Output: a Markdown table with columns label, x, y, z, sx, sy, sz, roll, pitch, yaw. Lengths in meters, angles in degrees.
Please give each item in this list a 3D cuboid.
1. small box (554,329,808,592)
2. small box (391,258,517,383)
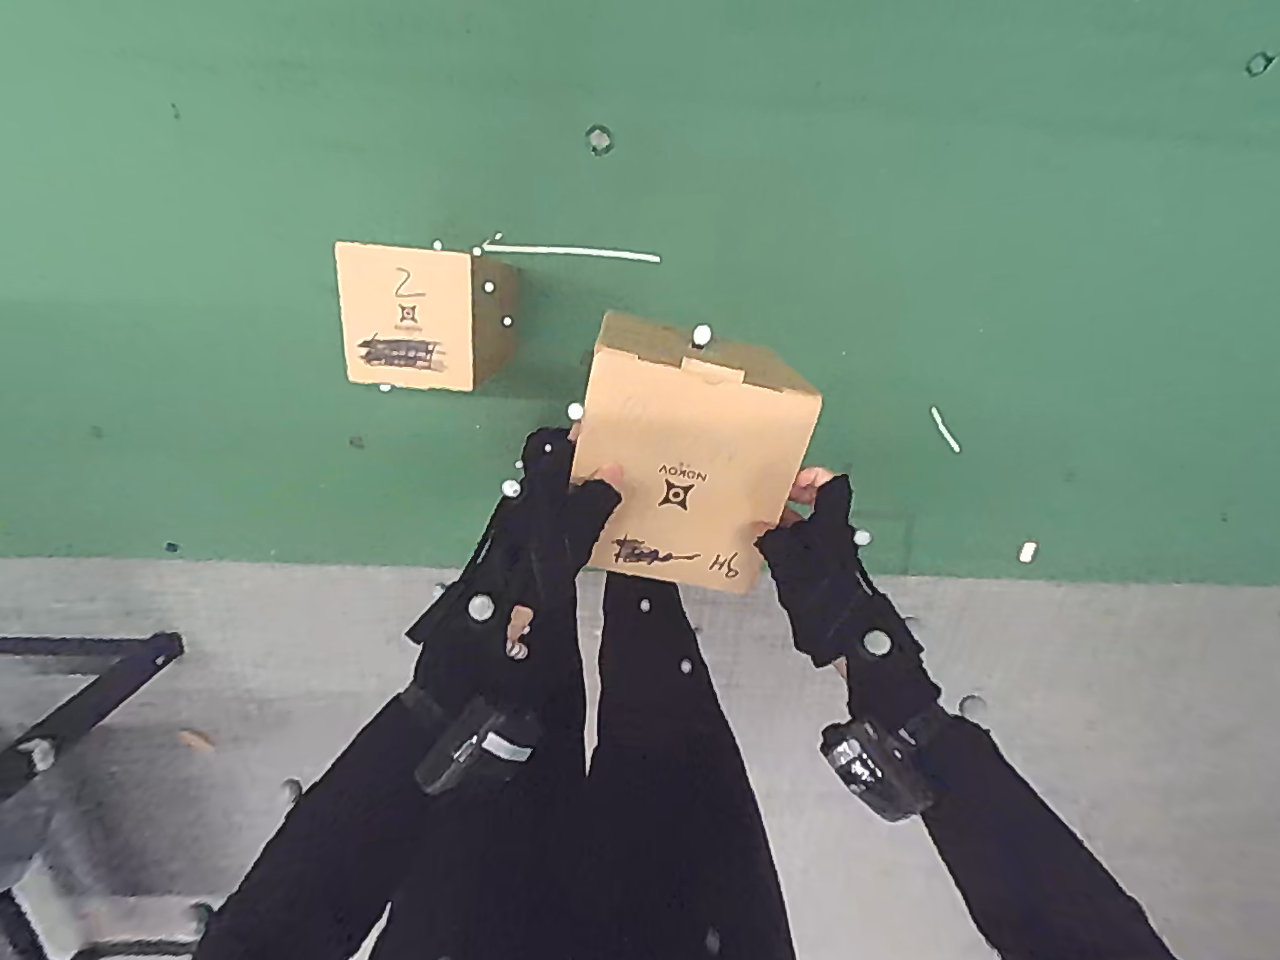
| label | x | y | z | sx | sy | sz | roll | pitch | yaw |
| --- | --- | --- | --- | --- | --- | --- | --- | --- | --- |
| small box | 0.024 | -0.029 | 0.493 | 0.168 | 0.176 | 0.179 | 11 | 112 | -6 |
| small box | -0.311 | -0.278 | 0.932 | 0.168 | 0.176 | 0.179 | 6 | 110 | -4 |
